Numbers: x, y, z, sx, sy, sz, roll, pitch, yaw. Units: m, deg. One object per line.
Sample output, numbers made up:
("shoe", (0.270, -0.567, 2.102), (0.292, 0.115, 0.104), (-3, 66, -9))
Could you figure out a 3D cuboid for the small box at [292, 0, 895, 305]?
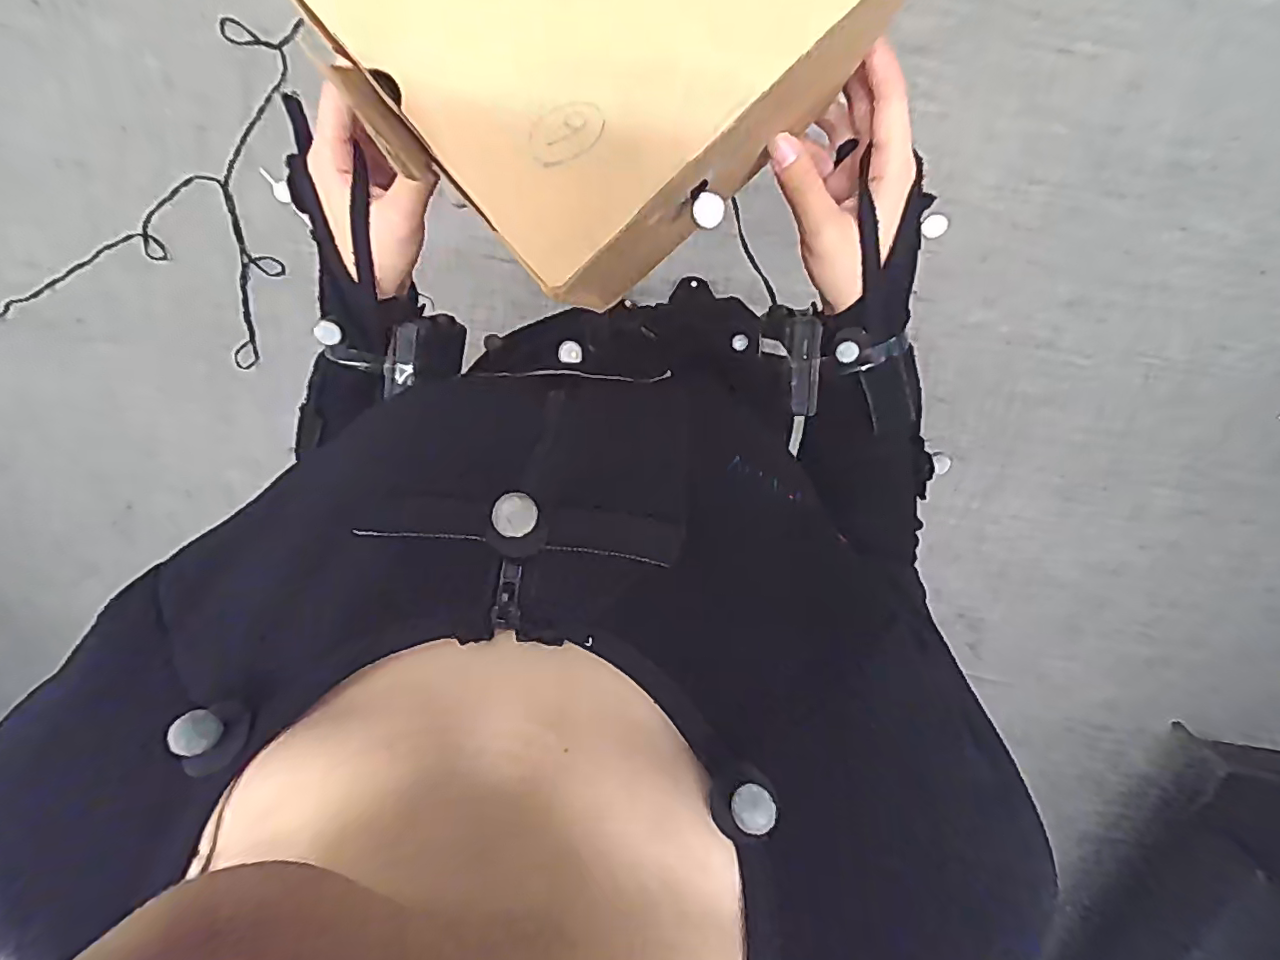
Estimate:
("small box", (-0.013, -0.200, 0.251), (0.179, 0.176, 0.168), (-40, 100, 13))
